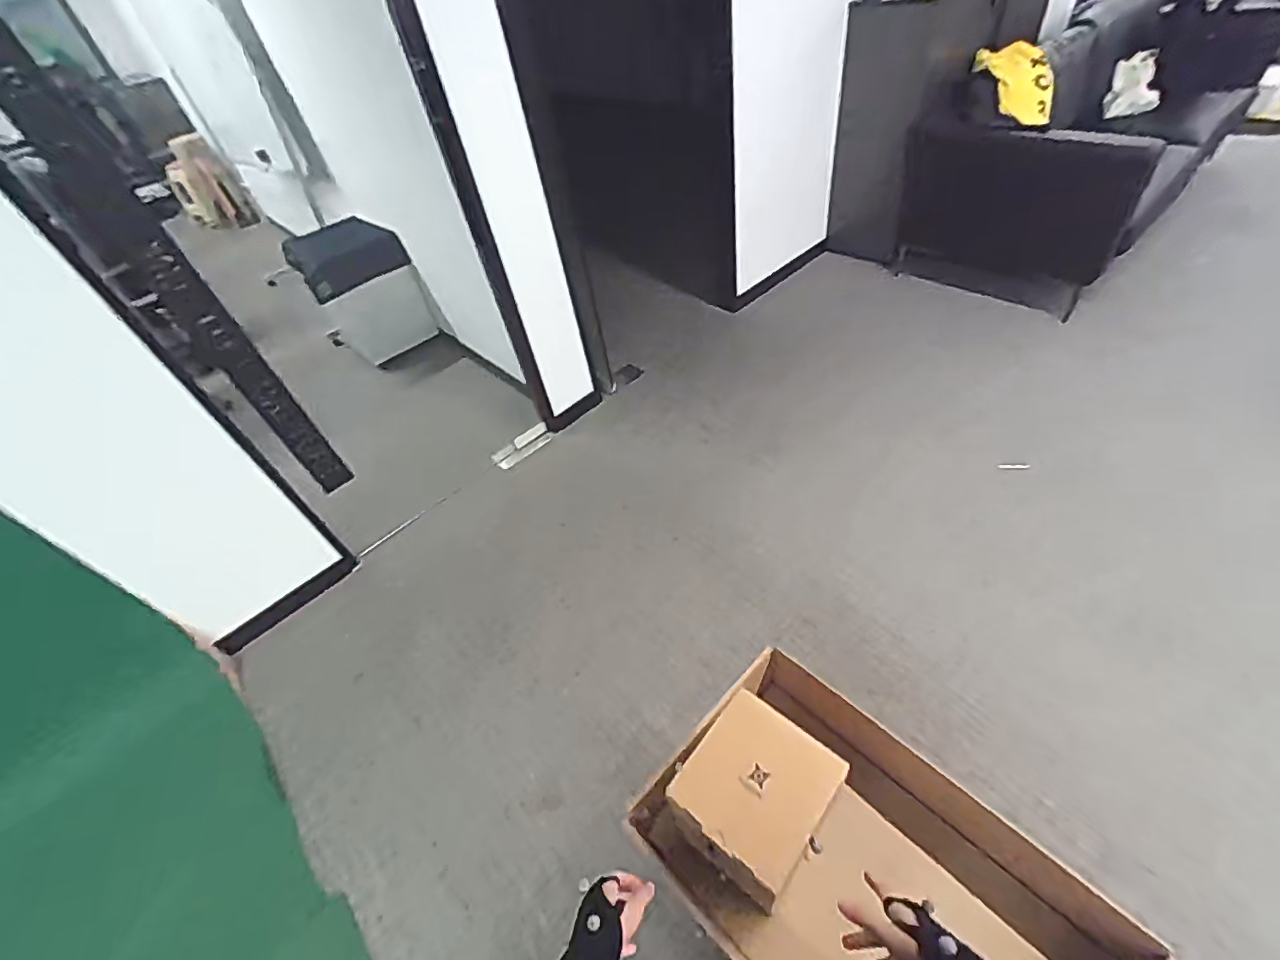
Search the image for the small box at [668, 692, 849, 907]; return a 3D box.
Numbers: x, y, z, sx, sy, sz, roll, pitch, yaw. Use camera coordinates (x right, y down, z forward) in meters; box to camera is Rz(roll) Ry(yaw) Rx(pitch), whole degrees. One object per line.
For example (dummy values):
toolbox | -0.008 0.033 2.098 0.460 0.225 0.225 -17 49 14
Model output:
small box | 0.160 0.437 0.743 0.168 0.176 0.179 29 59 32
